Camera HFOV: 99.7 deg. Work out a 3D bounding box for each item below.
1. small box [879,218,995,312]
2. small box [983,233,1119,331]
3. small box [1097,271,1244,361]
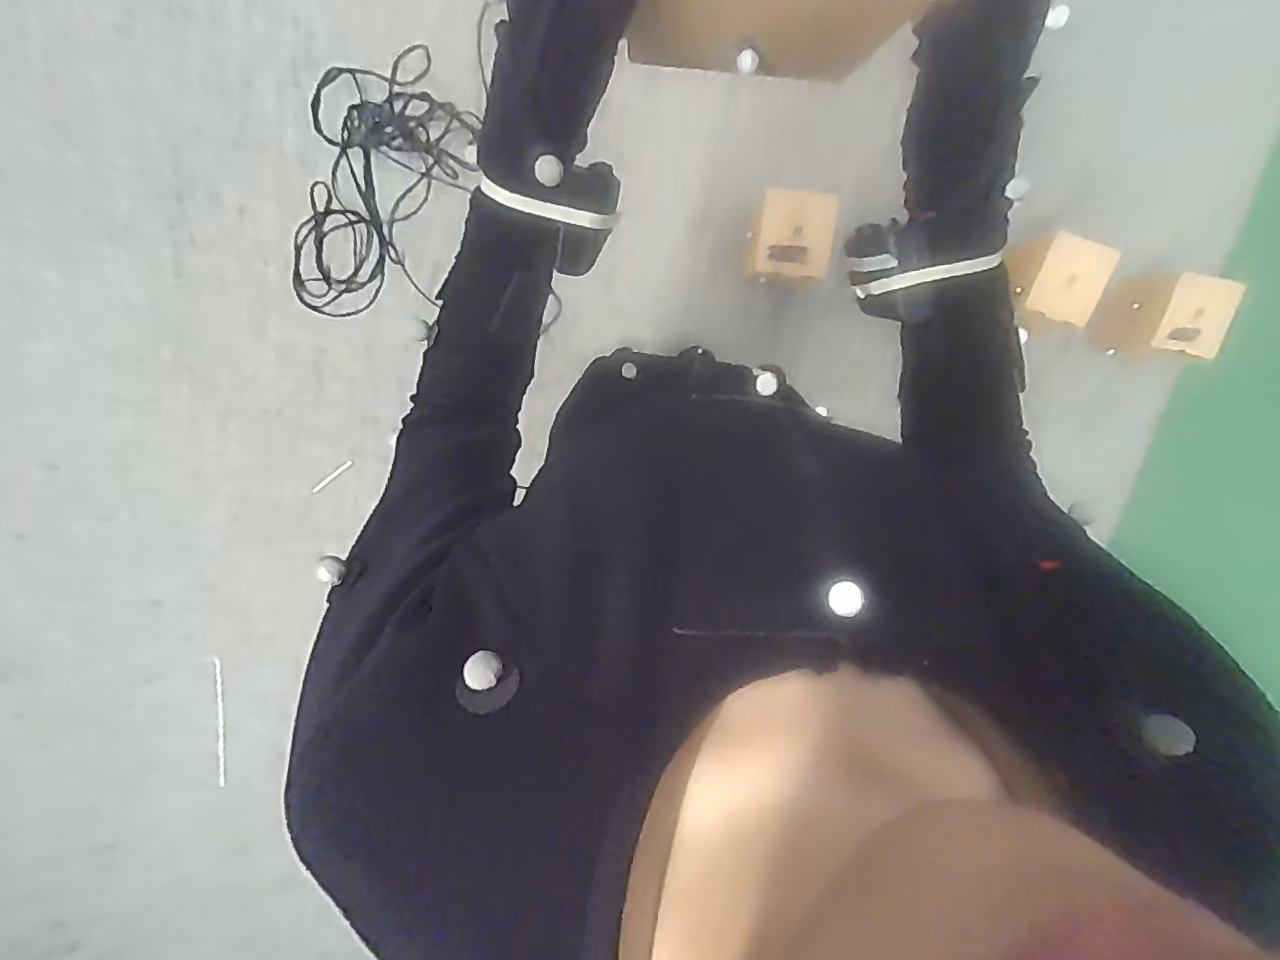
[{"bbox_3d":[0.696,-0.505,1.292,0.168,0.176,0.179,7,105,-1],"label":"small box"},{"bbox_3d":[0.979,-0.469,1.308,0.168,0.176,0.179,16,104,-5],"label":"small box"},{"bbox_3d":[1.289,-0.397,1.332,0.168,0.176,0.179,11,103,-4],"label":"small box"}]
